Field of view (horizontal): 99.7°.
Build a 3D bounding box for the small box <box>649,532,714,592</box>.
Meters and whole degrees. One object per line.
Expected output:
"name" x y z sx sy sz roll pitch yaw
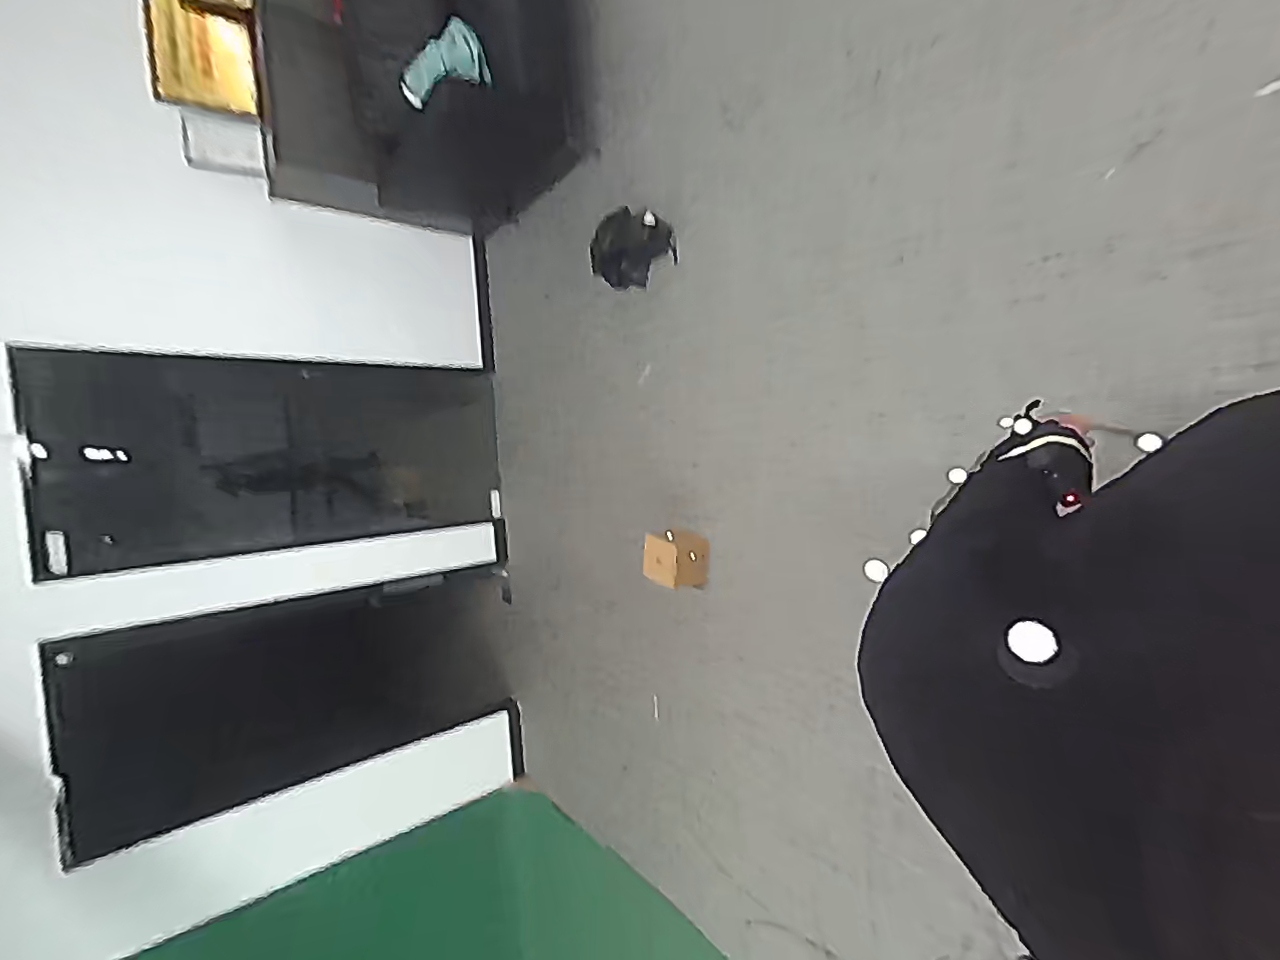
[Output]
"small box" 0.155 0.297 2.013 0.179 0.176 0.168 16 106 52
